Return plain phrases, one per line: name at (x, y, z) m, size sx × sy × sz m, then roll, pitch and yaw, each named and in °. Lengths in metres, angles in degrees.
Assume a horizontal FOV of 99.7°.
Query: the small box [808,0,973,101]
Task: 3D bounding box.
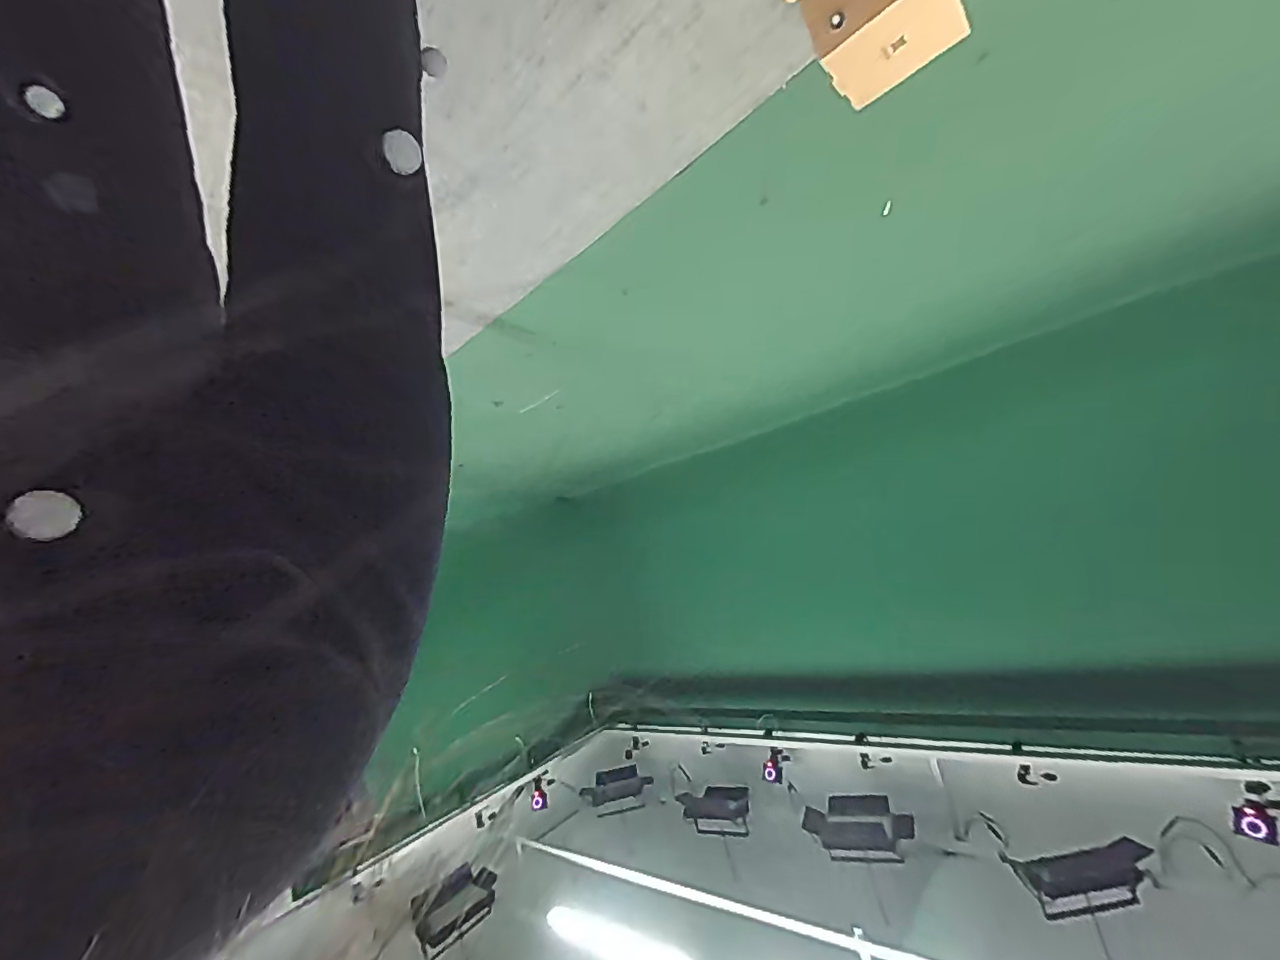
small box at (0.360, -0.730, 0.802) m, size 0.179 × 0.176 × 0.168 m, roll -19°, pitch 171°, yaw 40°
